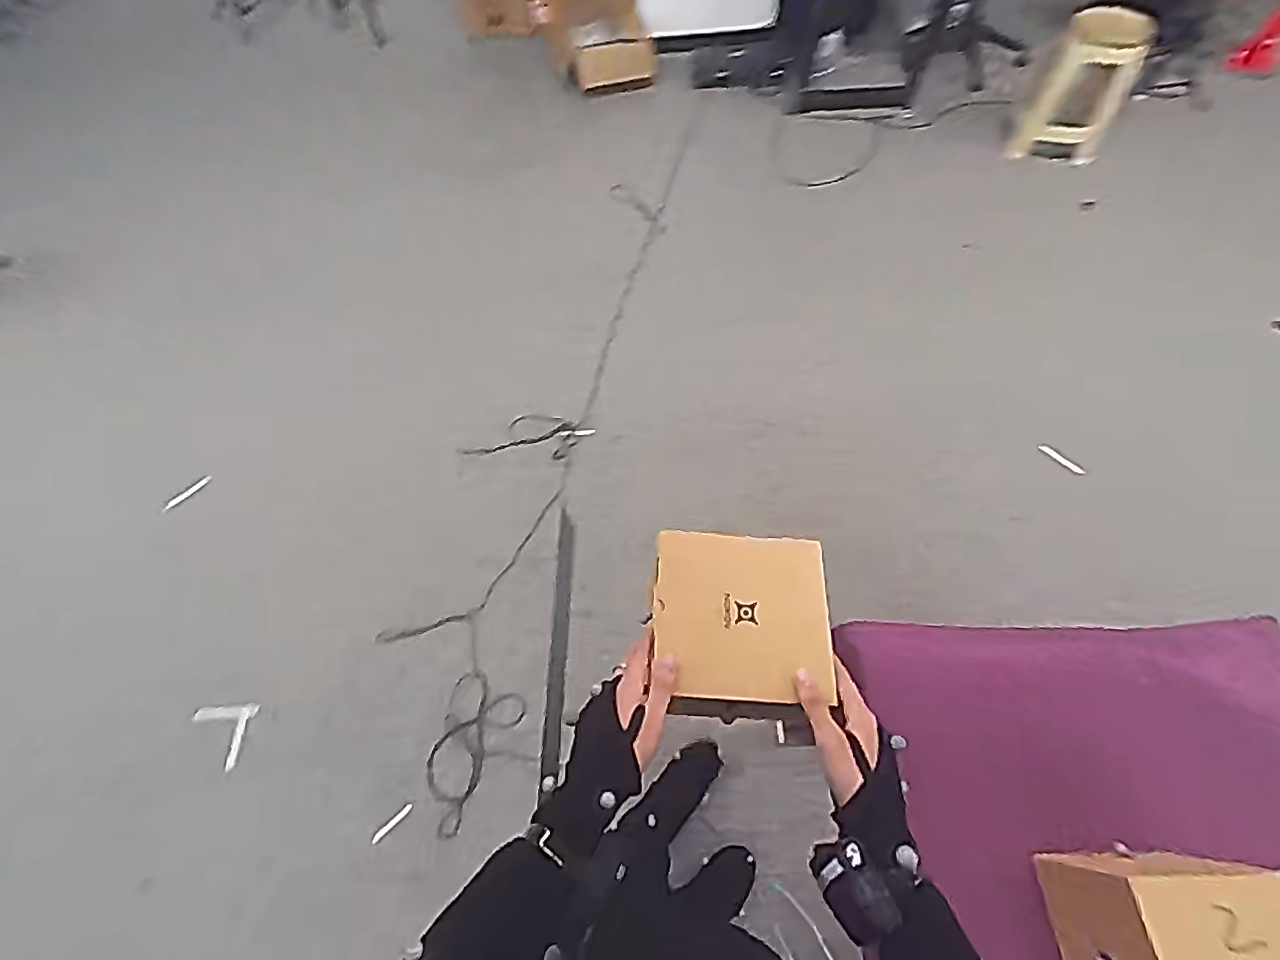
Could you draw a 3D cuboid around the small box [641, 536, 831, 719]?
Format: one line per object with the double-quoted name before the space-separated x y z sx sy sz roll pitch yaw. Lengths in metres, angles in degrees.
"small box" 0.093 0.172 0.609 0.179 0.176 0.168 2 62 0
